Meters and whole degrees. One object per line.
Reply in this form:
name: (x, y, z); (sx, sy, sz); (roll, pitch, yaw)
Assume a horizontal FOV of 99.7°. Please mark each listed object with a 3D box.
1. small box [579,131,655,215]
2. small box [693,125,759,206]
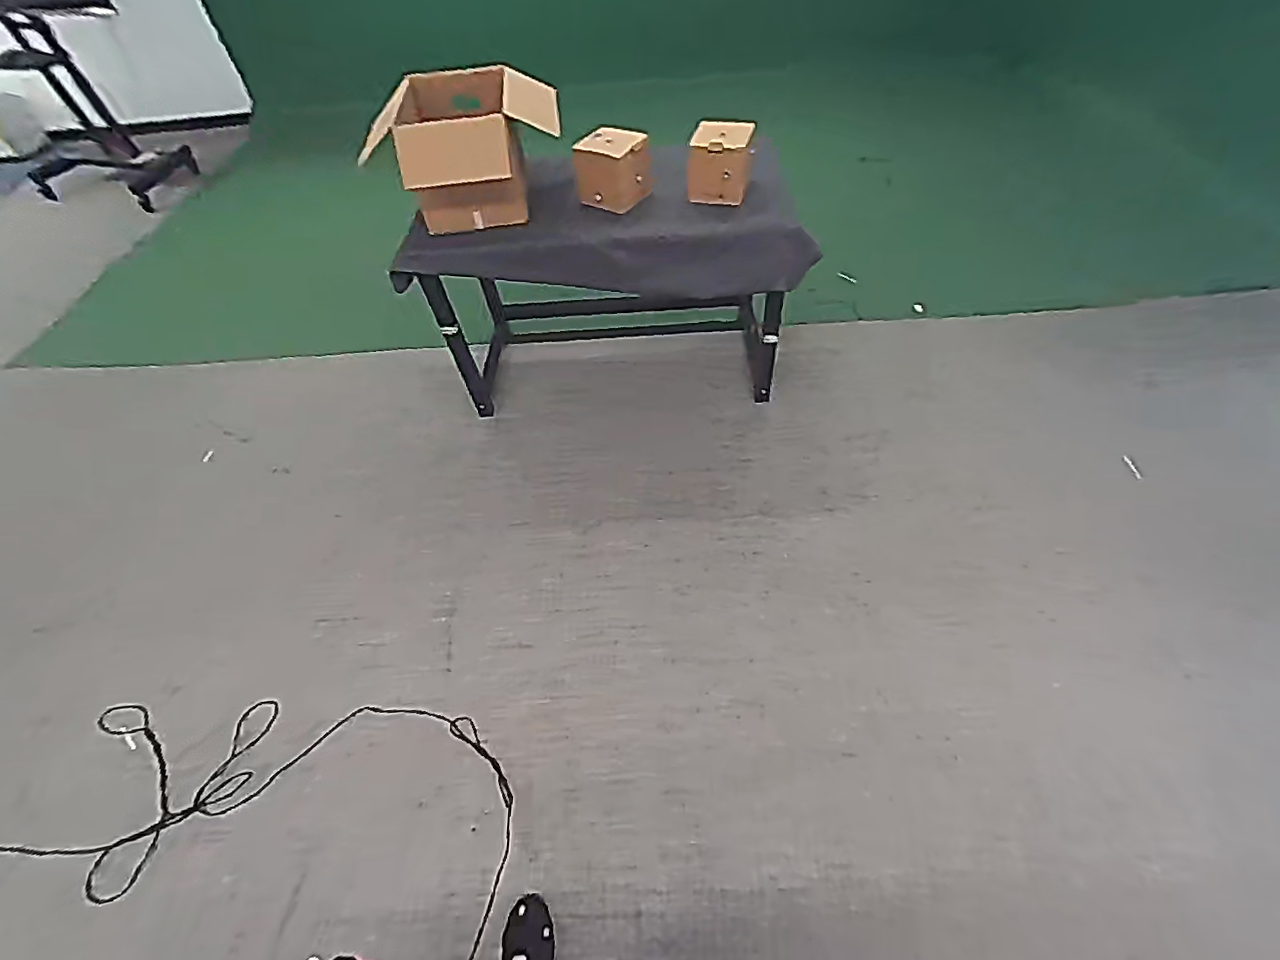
small box: (-0.065, -0.963, 1.702); (0.179, 0.176, 0.168); (26, 60, 22)
small box: (0.265, -0.972, 1.673); (0.168, 0.176, 0.179); (11, 54, 13)
